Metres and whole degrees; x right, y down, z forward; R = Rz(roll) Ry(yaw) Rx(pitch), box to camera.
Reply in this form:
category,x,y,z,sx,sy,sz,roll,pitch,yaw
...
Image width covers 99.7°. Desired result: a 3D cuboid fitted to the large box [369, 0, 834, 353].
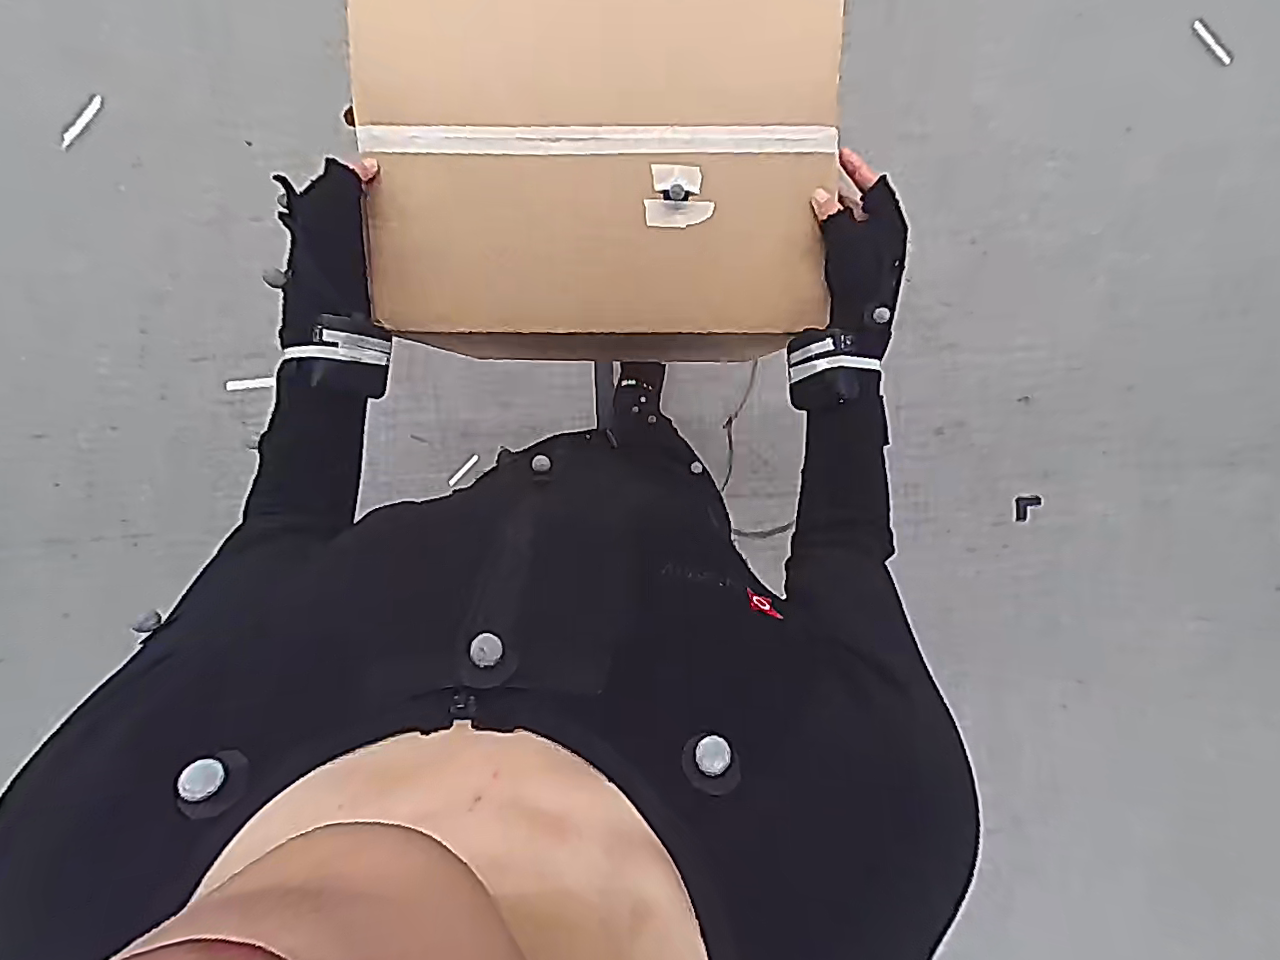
category,x,y,z,sx,sy,sz,roll,pitch,yaw
large box,-0.034,-0.322,0.622,0.408,0.320,0.320,0,99,-1
